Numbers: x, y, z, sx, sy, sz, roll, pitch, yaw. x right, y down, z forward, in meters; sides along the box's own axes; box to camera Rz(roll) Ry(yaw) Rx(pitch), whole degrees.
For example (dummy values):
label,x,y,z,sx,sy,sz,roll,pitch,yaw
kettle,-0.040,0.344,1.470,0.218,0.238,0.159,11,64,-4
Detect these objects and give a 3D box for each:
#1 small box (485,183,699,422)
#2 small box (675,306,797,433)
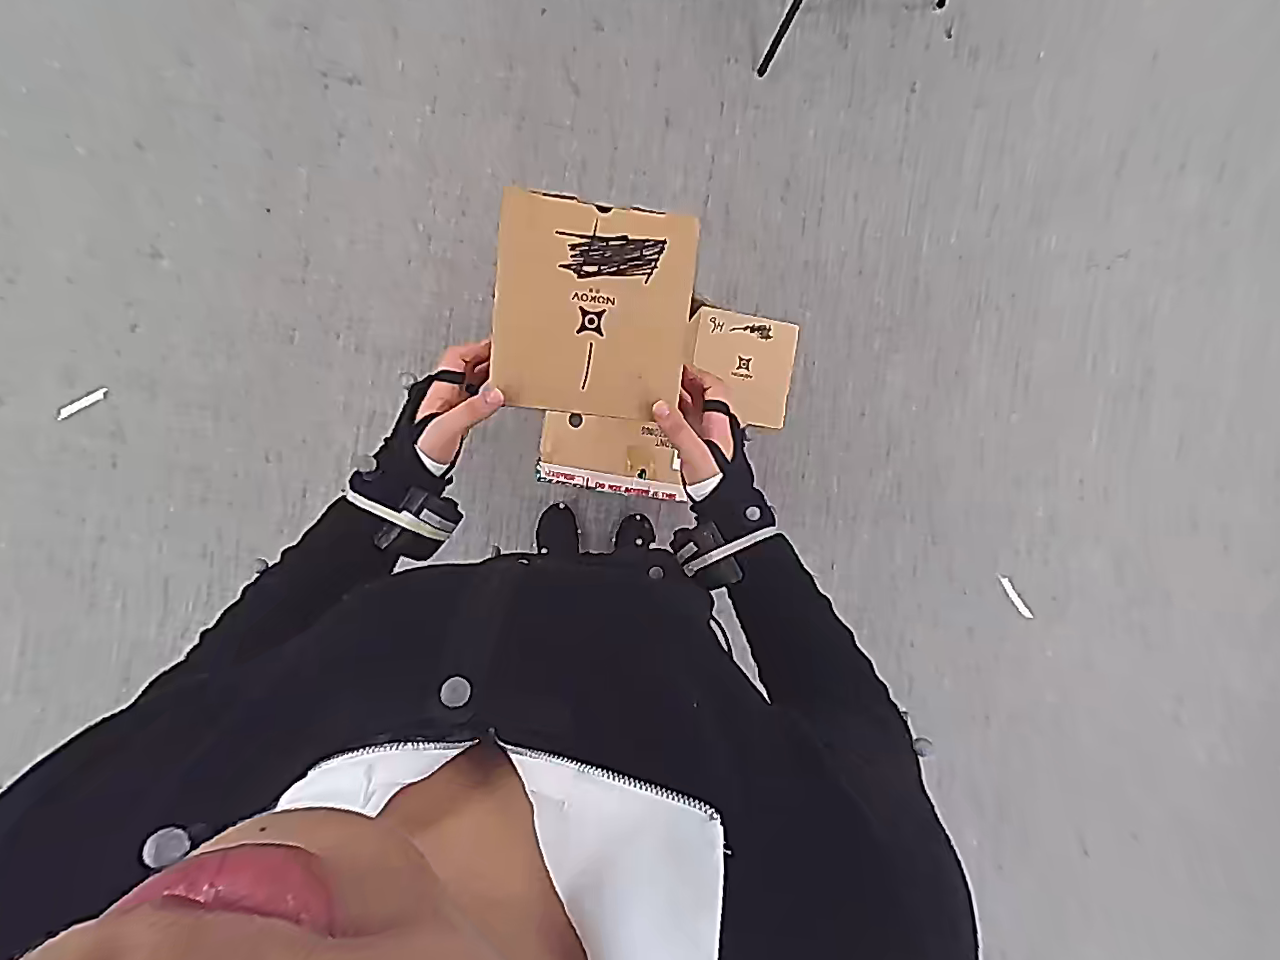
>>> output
label,x,y,z,sx,sy,sz,roll,pitch,yaw
small box,-0.049,-0.155,0.528,0.168,0.176,0.179,5,98,-7
small box,0.151,-0.180,0.941,0.168,0.176,0.179,9,92,-7
